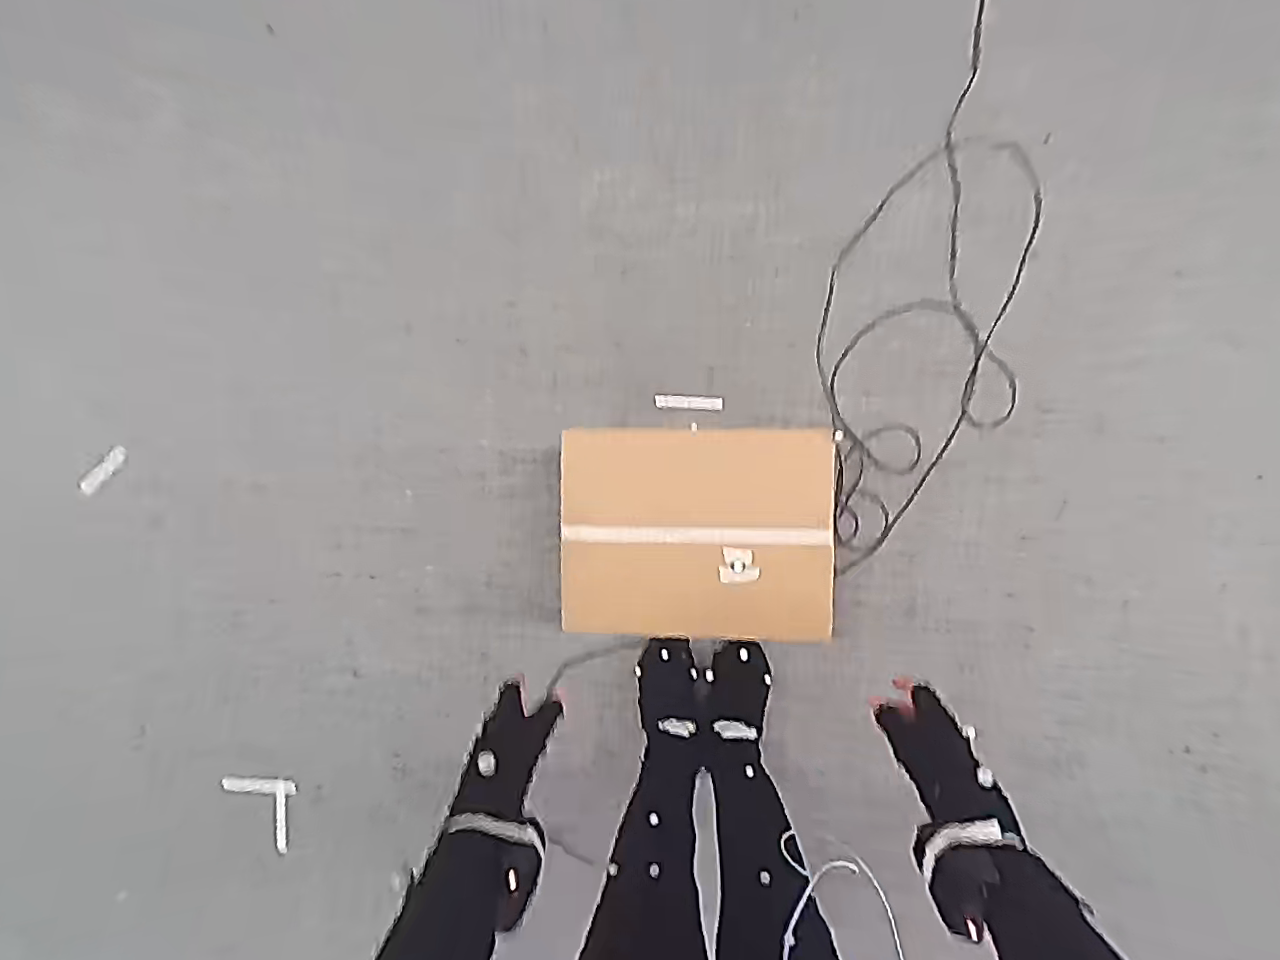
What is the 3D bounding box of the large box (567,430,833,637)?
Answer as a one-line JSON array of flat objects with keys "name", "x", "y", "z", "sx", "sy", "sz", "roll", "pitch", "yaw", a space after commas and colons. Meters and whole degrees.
[{"name": "large box", "x": 0.099, "y": 0.078, "z": 0.964, "sx": 0.408, "sy": 0.320, "sz": 0.320, "roll": 0, "pitch": 93, "yaw": 5}]
